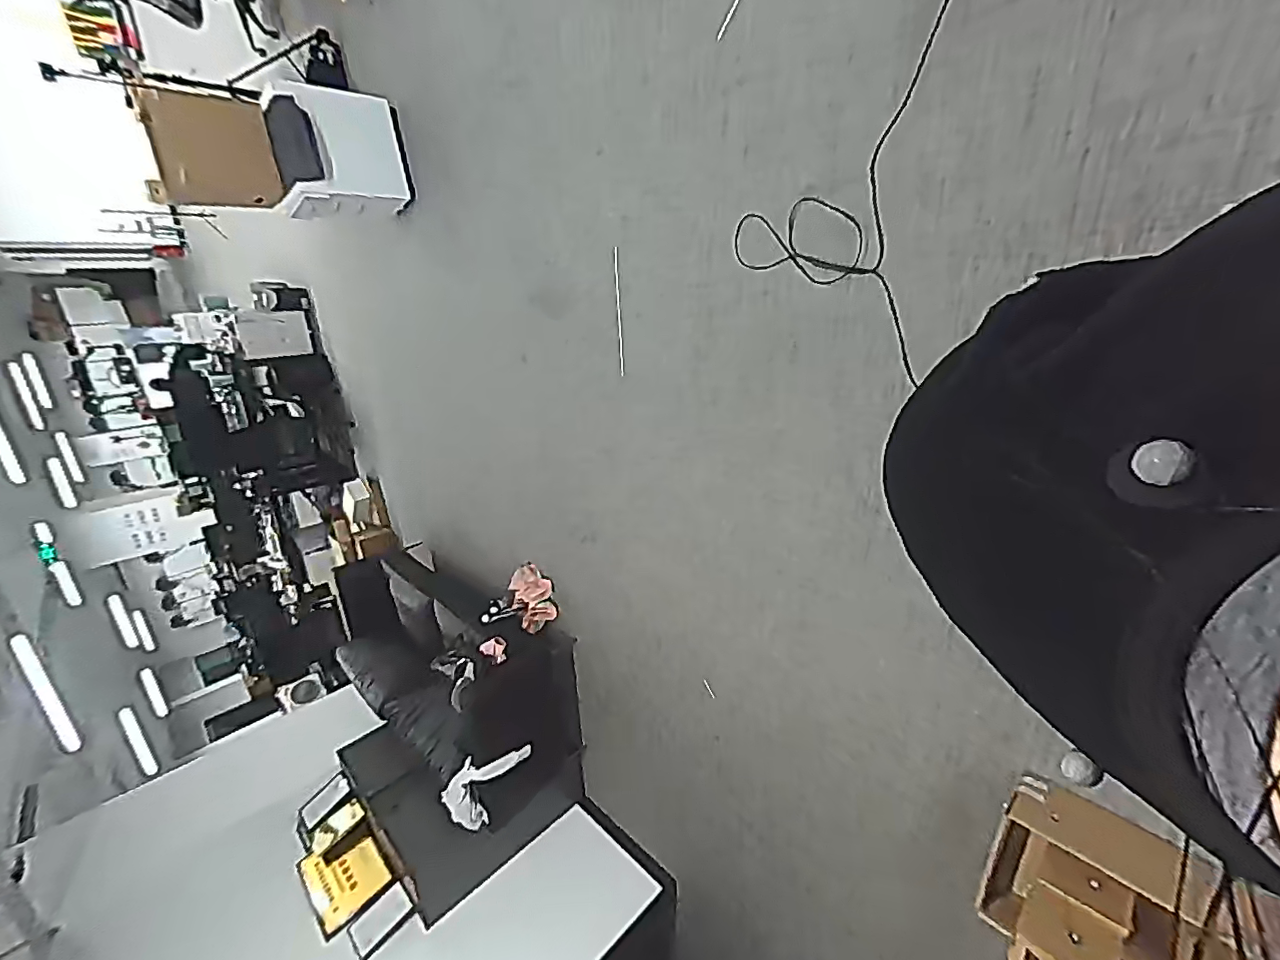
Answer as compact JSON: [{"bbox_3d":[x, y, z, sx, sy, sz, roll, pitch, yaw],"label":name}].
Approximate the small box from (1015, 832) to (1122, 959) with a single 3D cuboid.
[{"bbox_3d":[1.084,1.045,1.365,0.179,0.176,0.168,16,115,41],"label":"small box"}]
